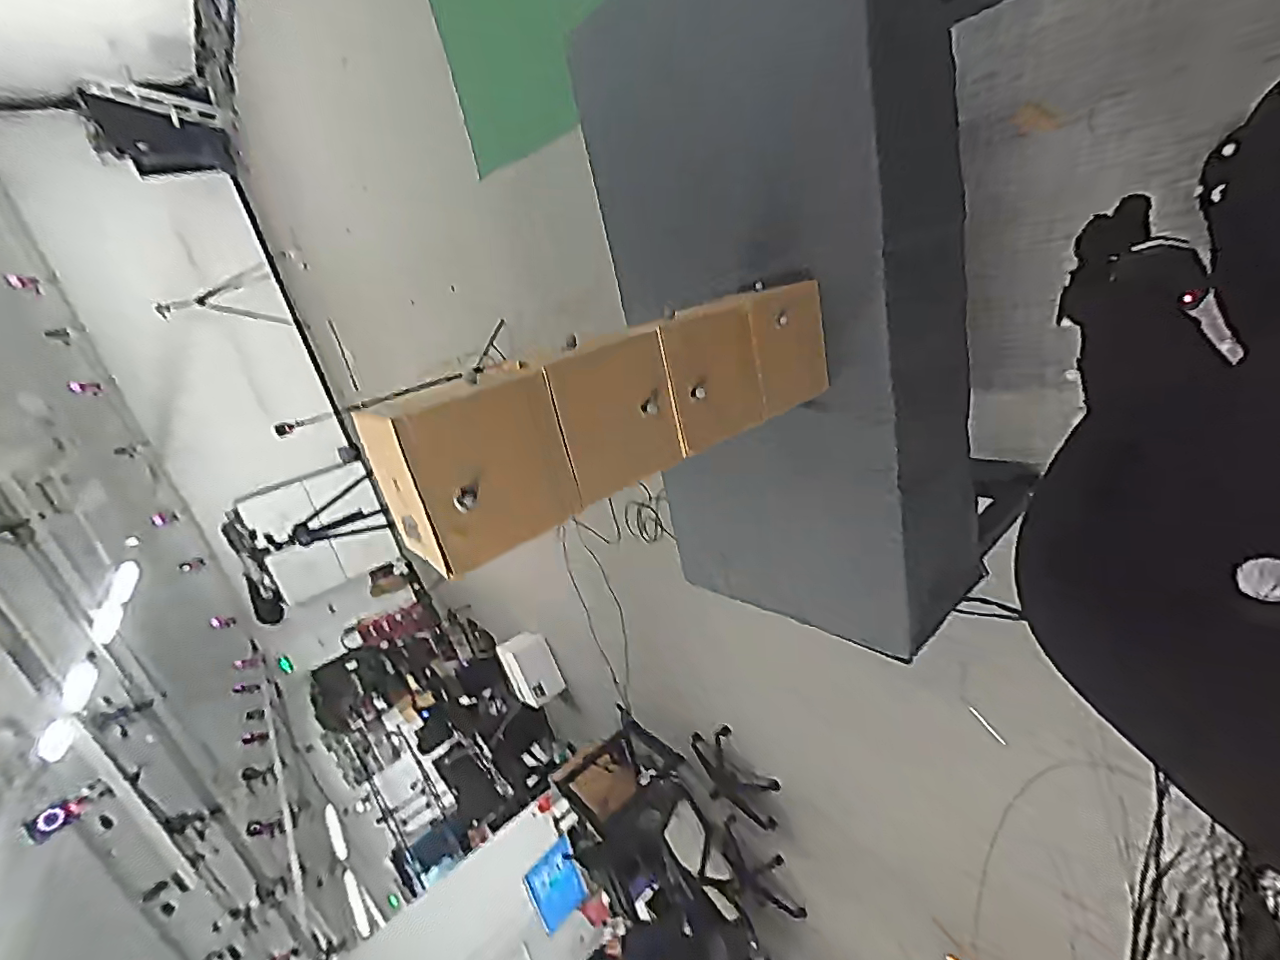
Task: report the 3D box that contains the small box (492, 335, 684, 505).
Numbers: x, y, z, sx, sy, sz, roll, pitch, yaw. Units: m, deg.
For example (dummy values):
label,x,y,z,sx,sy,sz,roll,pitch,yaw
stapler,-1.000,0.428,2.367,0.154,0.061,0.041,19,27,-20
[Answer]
label,x,y,z,sx,sy,sz,roll,pitch,yaw
small box,-0.065,-0.090,0.716,0.168,0.176,0.179,14,122,51

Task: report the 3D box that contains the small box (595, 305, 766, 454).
label,x,y,z,sx,sy,sz,roll,pitch,yaw
small box,0.062,-0.152,0.798,0.168,0.176,0.179,10,121,52

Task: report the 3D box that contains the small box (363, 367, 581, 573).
label,x,y,z,sx,sy,sz,roll,pitch,yaw
small box,-0.190,-0.023,0.632,0.168,0.176,0.179,11,120,51
